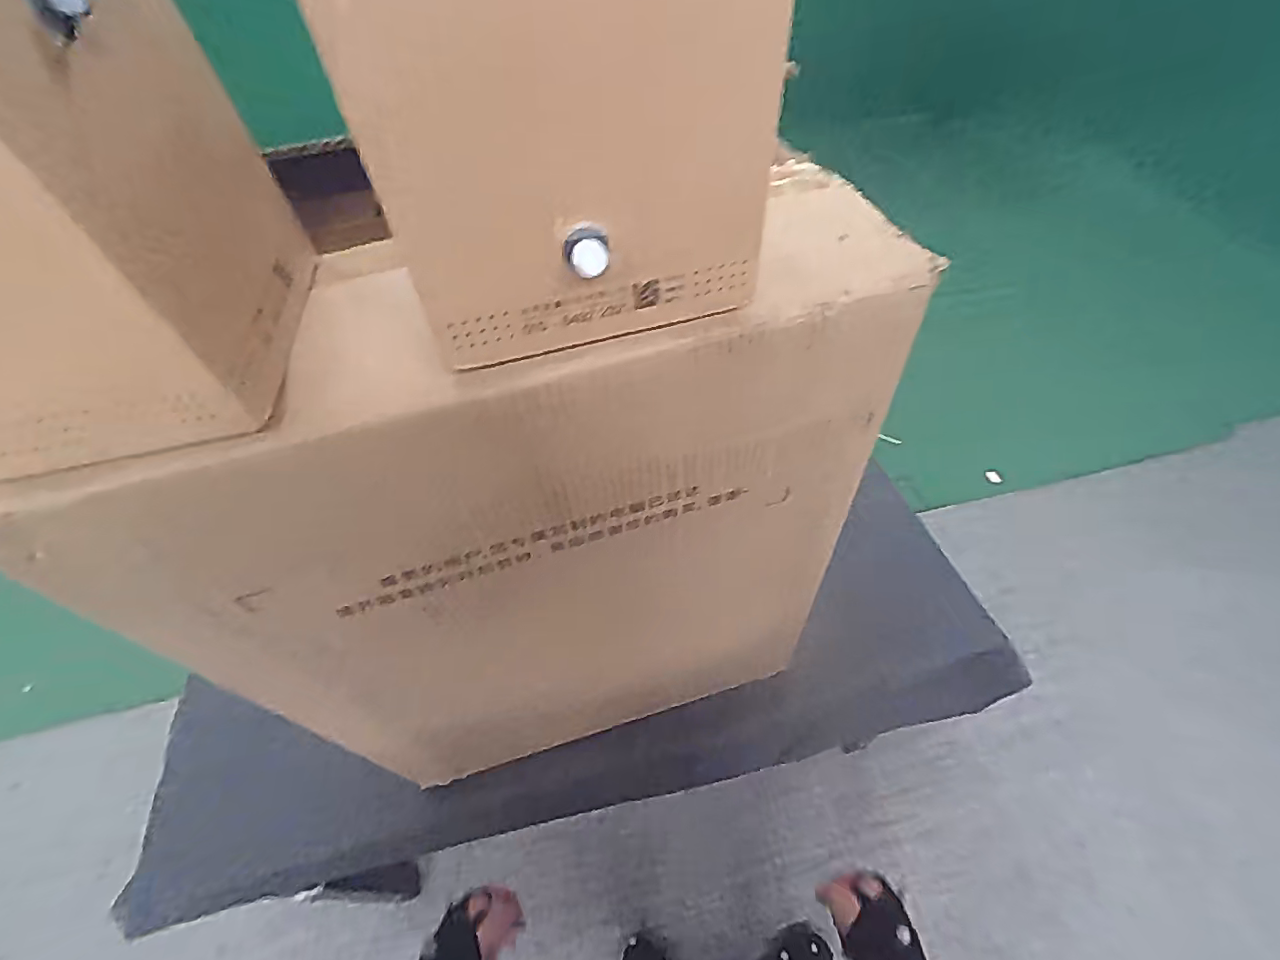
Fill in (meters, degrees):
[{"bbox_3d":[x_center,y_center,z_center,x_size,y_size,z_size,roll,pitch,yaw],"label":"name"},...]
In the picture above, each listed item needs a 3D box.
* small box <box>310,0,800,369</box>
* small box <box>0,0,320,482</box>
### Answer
[{"bbox_3d":[-0.043,-0.184,0.268,0.168,0.176,0.179,-15,53,-8],"label":"small box"},{"bbox_3d":[-0.280,-0.113,0.232,0.179,0.176,0.168,-13,53,-4],"label":"small box"}]
